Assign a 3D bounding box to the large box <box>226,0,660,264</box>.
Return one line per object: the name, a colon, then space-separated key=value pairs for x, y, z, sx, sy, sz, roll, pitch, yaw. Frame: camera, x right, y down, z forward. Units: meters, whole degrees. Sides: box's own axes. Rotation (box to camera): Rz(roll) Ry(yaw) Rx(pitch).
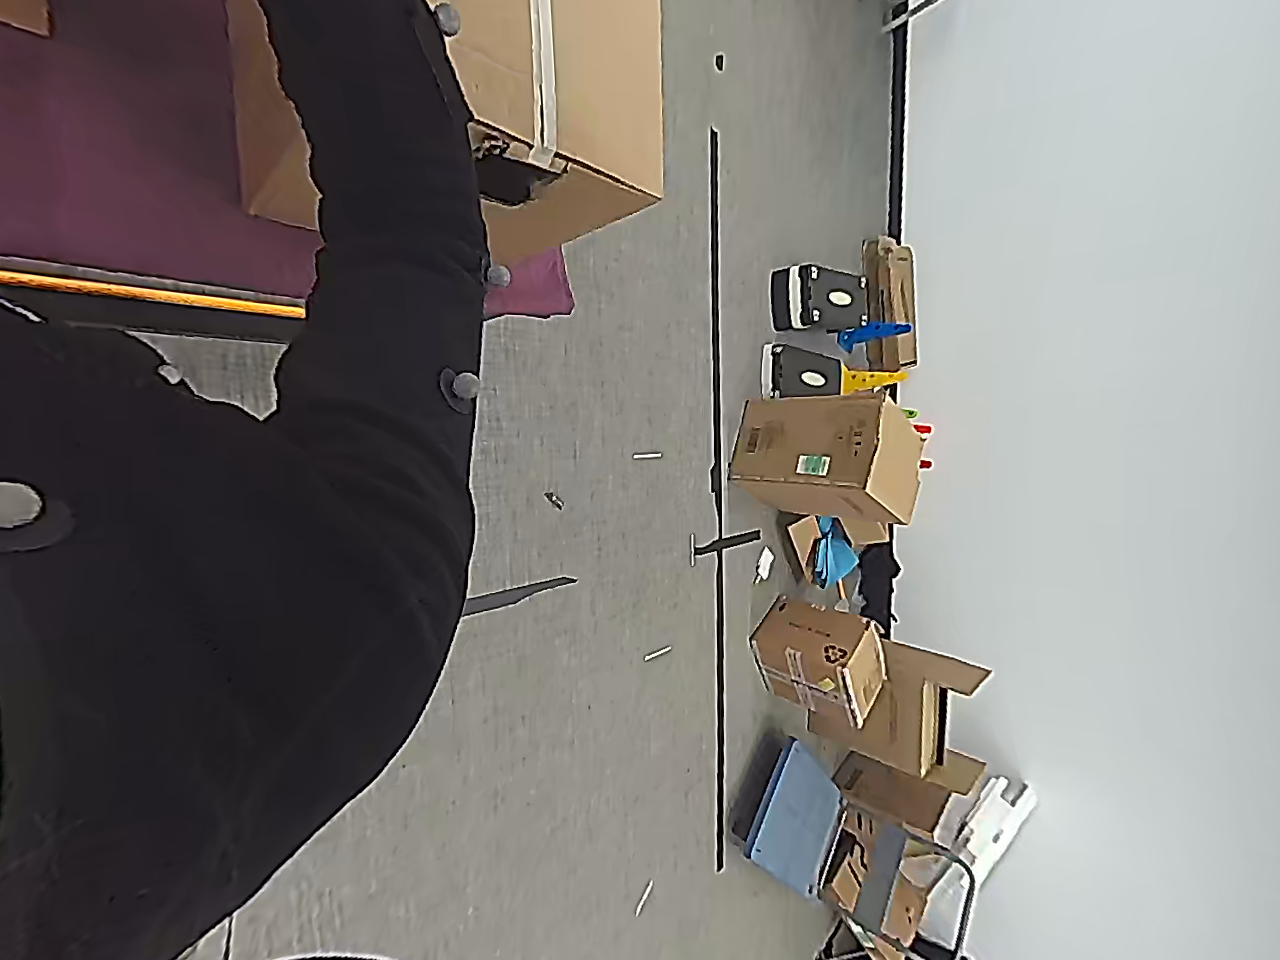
large box: x=-0.201 y=-0.477 z=0.539 sx=0.320 sy=0.320 sz=0.408 roll=-8 pitch=97 yaw=-46
